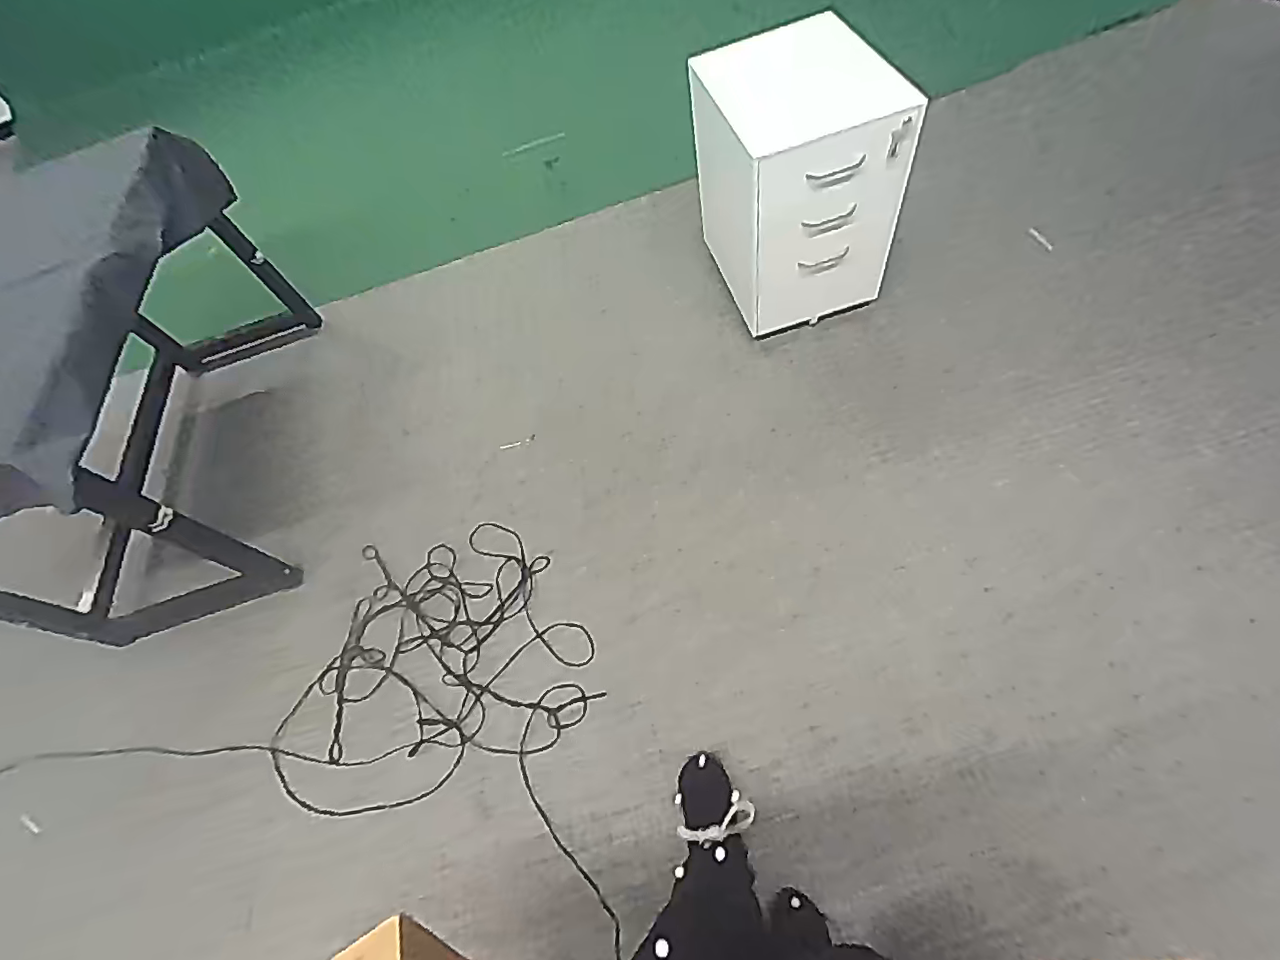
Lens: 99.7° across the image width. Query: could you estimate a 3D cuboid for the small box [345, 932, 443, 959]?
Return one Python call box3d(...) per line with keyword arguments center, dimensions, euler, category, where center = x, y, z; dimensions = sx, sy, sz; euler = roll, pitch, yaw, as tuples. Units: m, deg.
box3d(center=(-0.270, 0.619, 0.549), dimensions=(0.168, 0.179, 0.176), euler=(-31, 30, -12), category="small box")
